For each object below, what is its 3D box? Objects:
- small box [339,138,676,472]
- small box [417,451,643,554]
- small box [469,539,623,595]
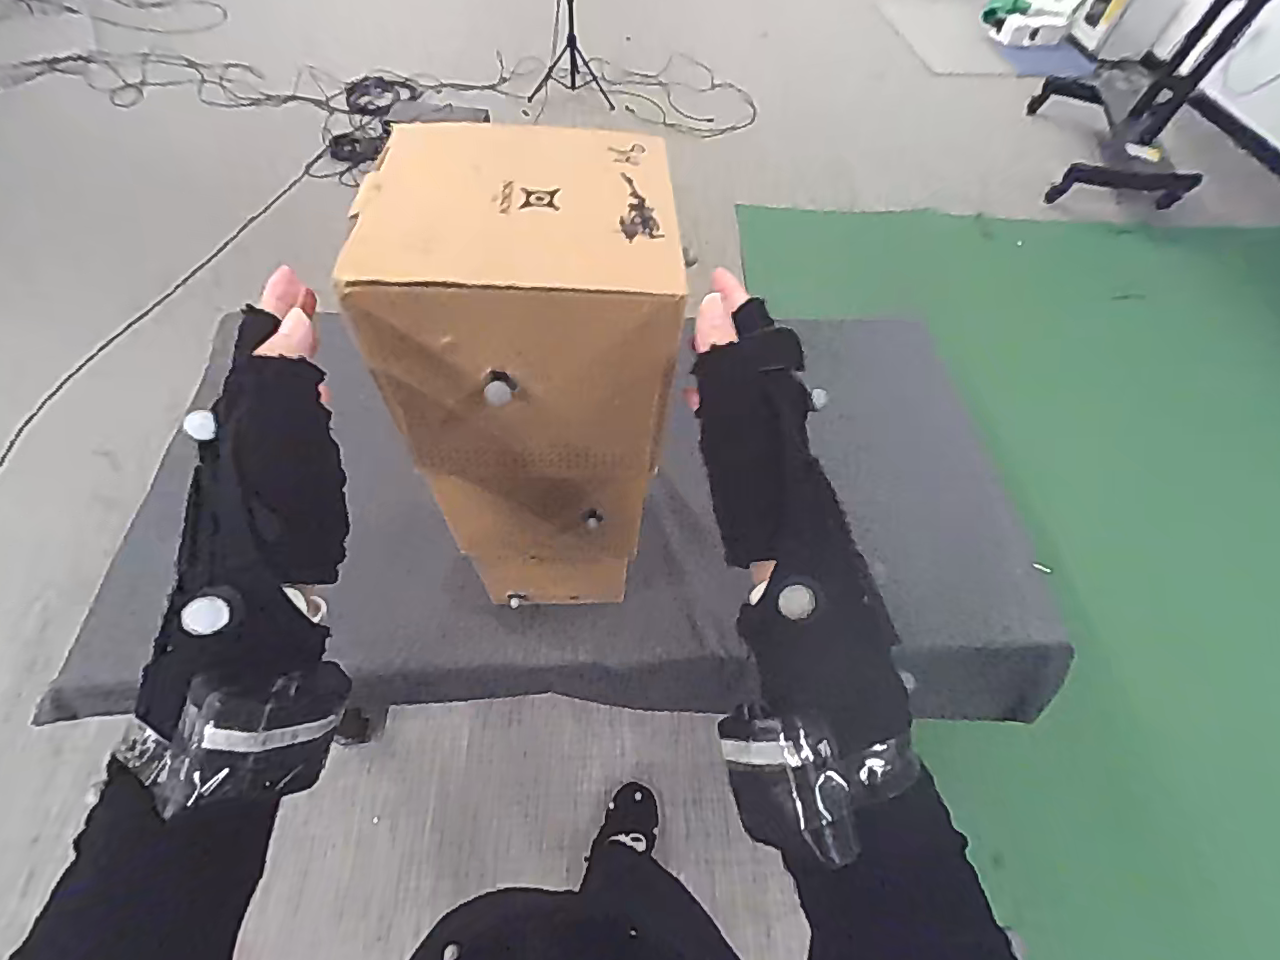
[{"bbox_3d":[-0.078,-0.117,0.389,0.179,0.176,0.168,-2,55,-7],"label":"small box"},{"bbox_3d":[-0.091,-0.037,0.529,0.179,0.176,0.168,0,56,-3],"label":"small box"},{"bbox_3d":[-0.107,0.037,0.673,0.168,0.176,0.179,-3,59,-6],"label":"small box"}]
